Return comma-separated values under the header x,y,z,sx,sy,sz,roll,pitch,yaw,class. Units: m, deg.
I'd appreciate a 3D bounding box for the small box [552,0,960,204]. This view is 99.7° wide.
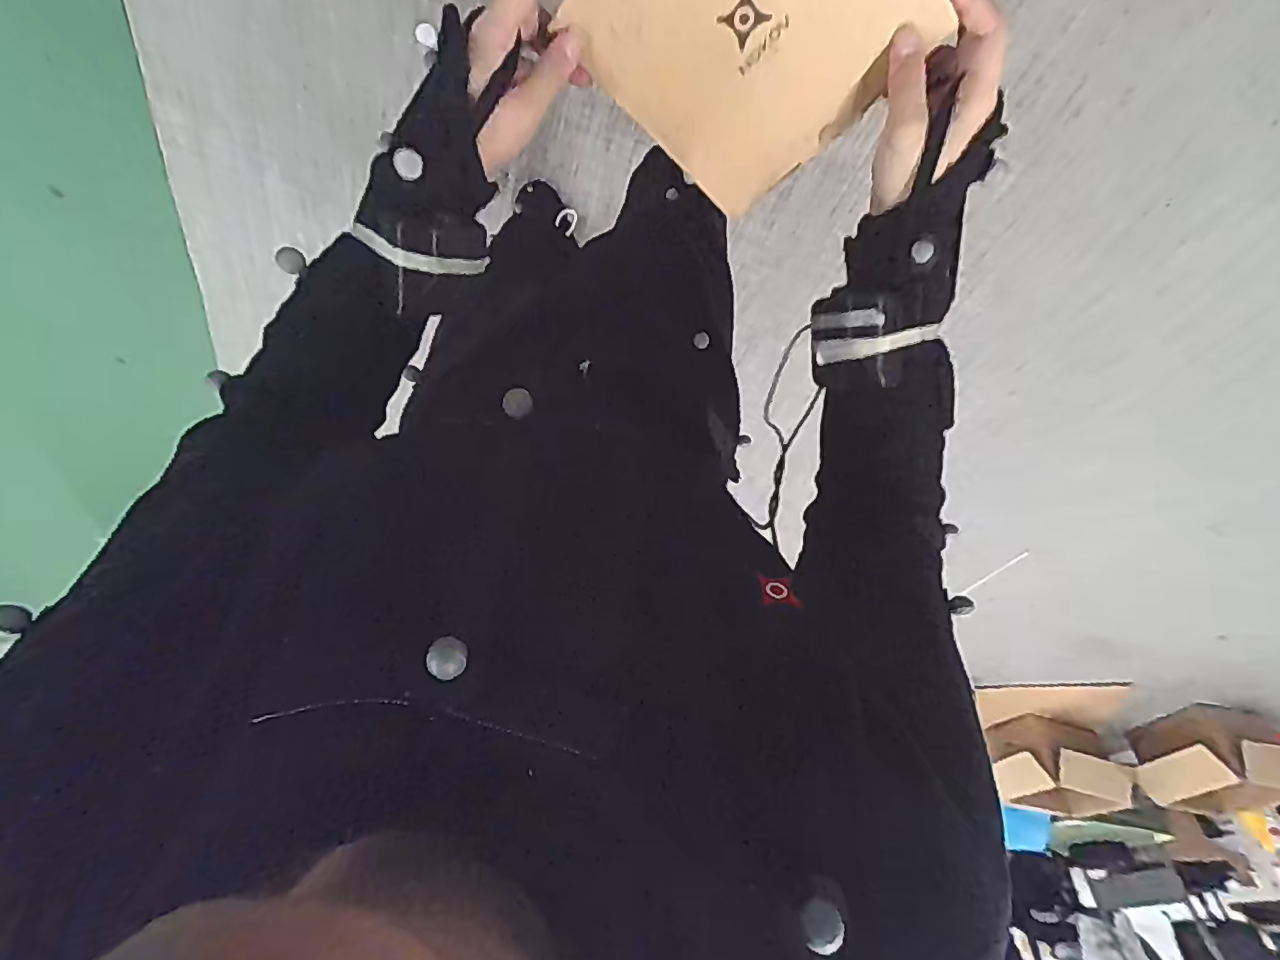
x,y,z,sx,sy,sz,roll,pitch,yaw,class
0.068,-0.337,0.355,0.179,0.176,0.168,28,140,-32,small box
